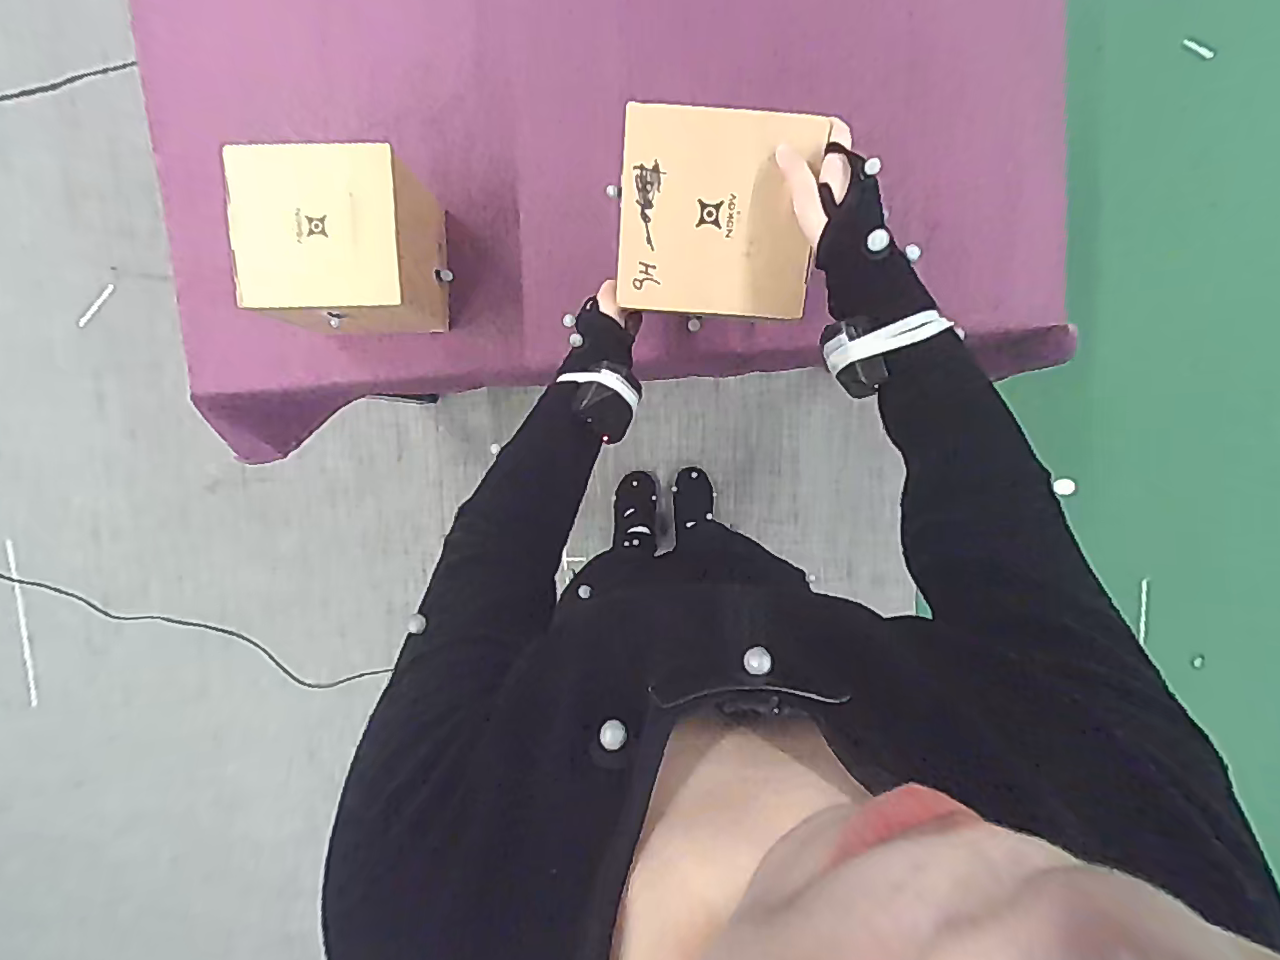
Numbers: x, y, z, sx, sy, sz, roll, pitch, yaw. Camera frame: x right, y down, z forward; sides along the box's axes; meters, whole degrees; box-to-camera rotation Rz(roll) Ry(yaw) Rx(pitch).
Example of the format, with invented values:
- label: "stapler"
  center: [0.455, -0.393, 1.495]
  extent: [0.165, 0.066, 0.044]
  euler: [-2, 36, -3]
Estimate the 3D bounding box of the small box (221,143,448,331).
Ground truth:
- label: "small box"
  center: [-0.347, -0.274, 0.647]
  extent: [0.179, 0.176, 0.168]
  euler: [-2, 96, -1]
